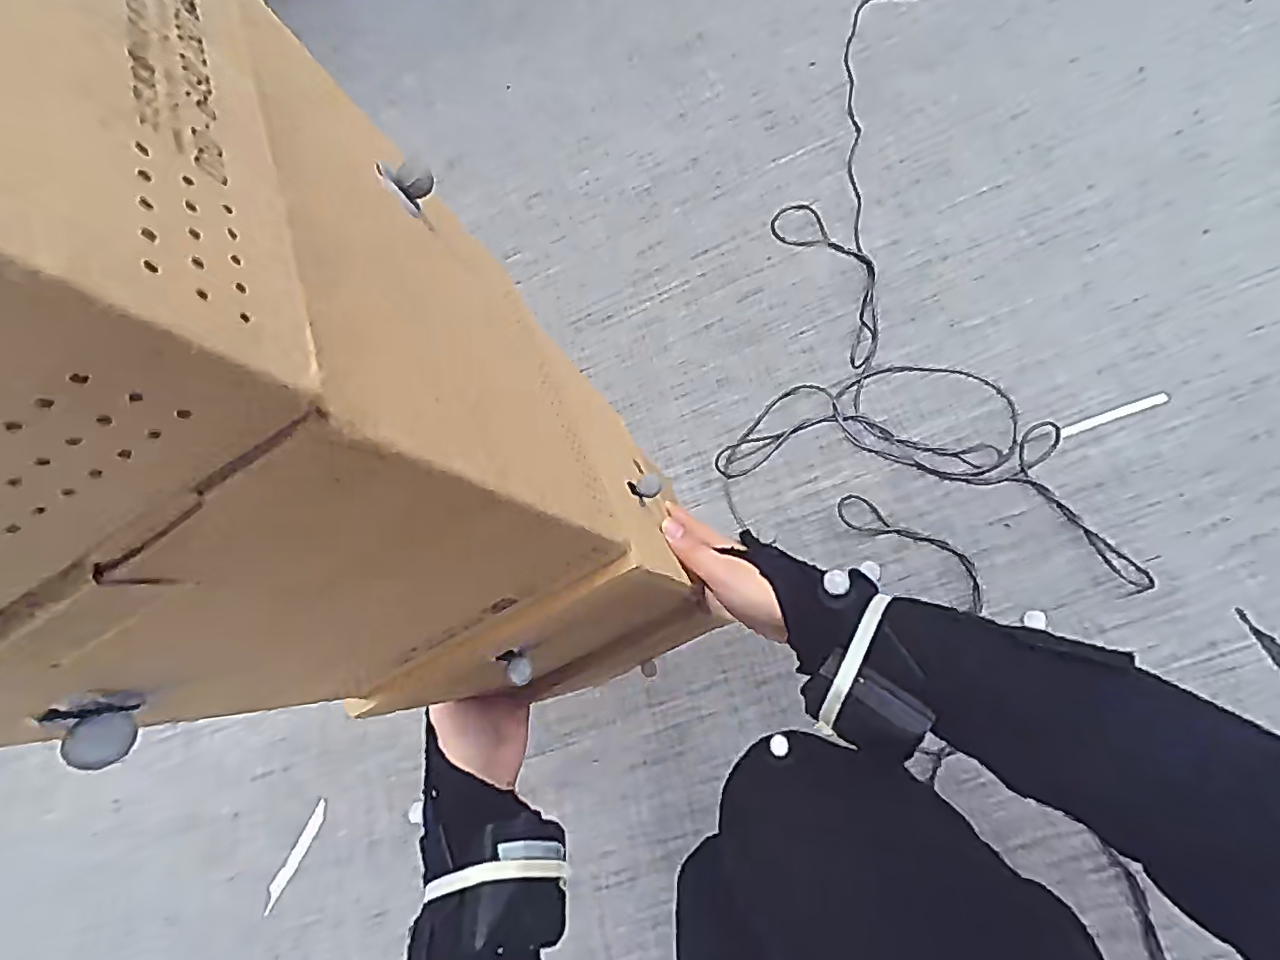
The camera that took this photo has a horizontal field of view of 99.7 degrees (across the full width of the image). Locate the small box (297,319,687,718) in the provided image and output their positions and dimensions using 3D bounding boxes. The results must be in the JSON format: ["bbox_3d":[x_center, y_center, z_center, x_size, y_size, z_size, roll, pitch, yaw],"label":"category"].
[{"bbox_3d":[-0.081,0.034,0.366,0.179,0.176,0.168,-29,68,9],"label":"small box"}]

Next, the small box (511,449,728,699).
[{"bbox_3d":[-0.034,0.084,0.513,0.168,0.176,0.179,-29,69,9],"label":"small box"}]
